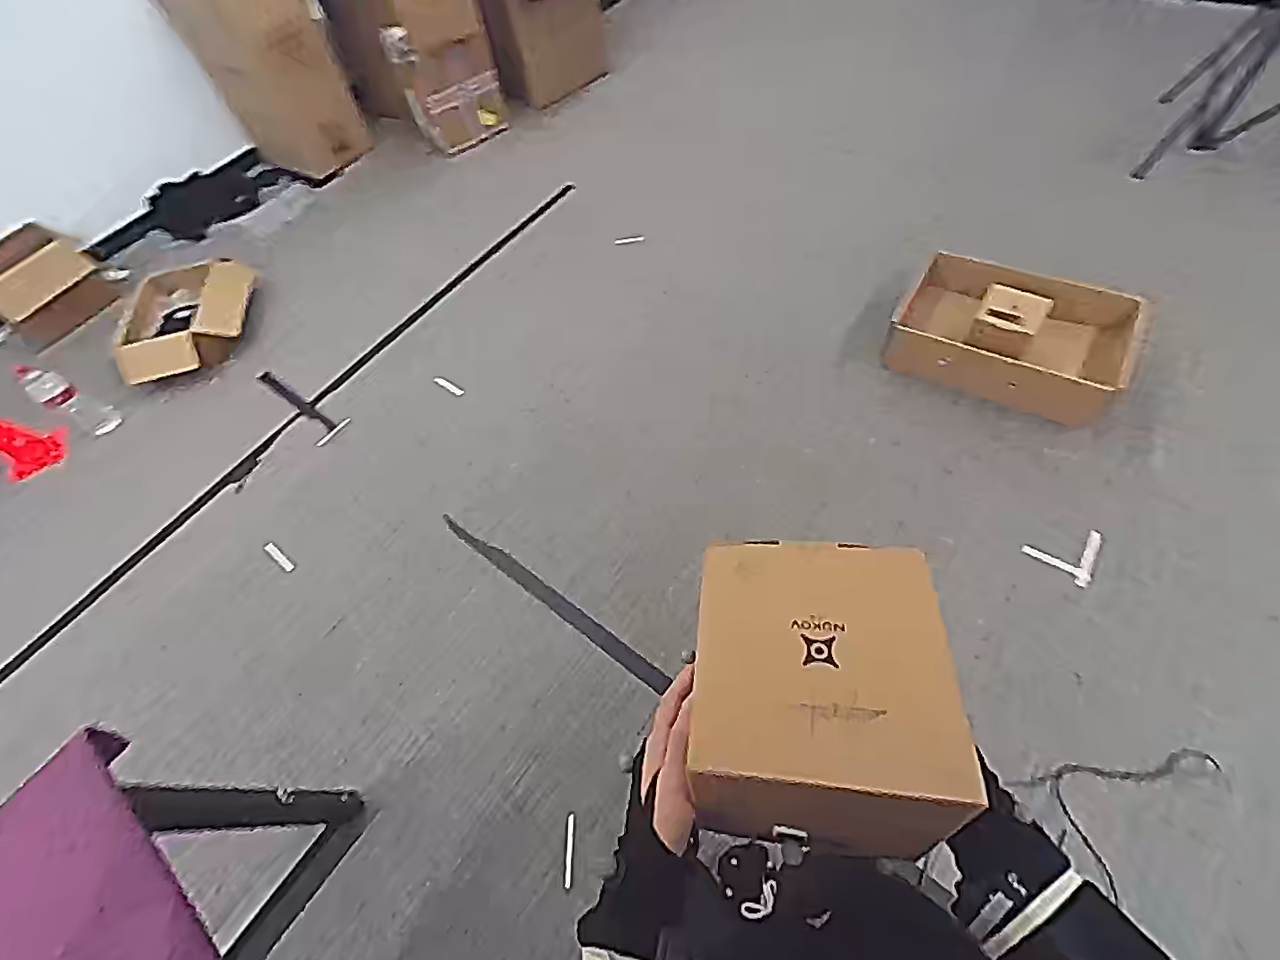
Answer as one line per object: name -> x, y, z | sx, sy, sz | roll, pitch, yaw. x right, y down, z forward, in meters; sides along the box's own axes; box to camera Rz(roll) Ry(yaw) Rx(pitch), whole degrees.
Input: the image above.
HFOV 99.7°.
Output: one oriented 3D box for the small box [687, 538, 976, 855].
small box -> 0.130, 0.168, 0.428 | 0.168, 0.176, 0.179 | 1, 47, 11
